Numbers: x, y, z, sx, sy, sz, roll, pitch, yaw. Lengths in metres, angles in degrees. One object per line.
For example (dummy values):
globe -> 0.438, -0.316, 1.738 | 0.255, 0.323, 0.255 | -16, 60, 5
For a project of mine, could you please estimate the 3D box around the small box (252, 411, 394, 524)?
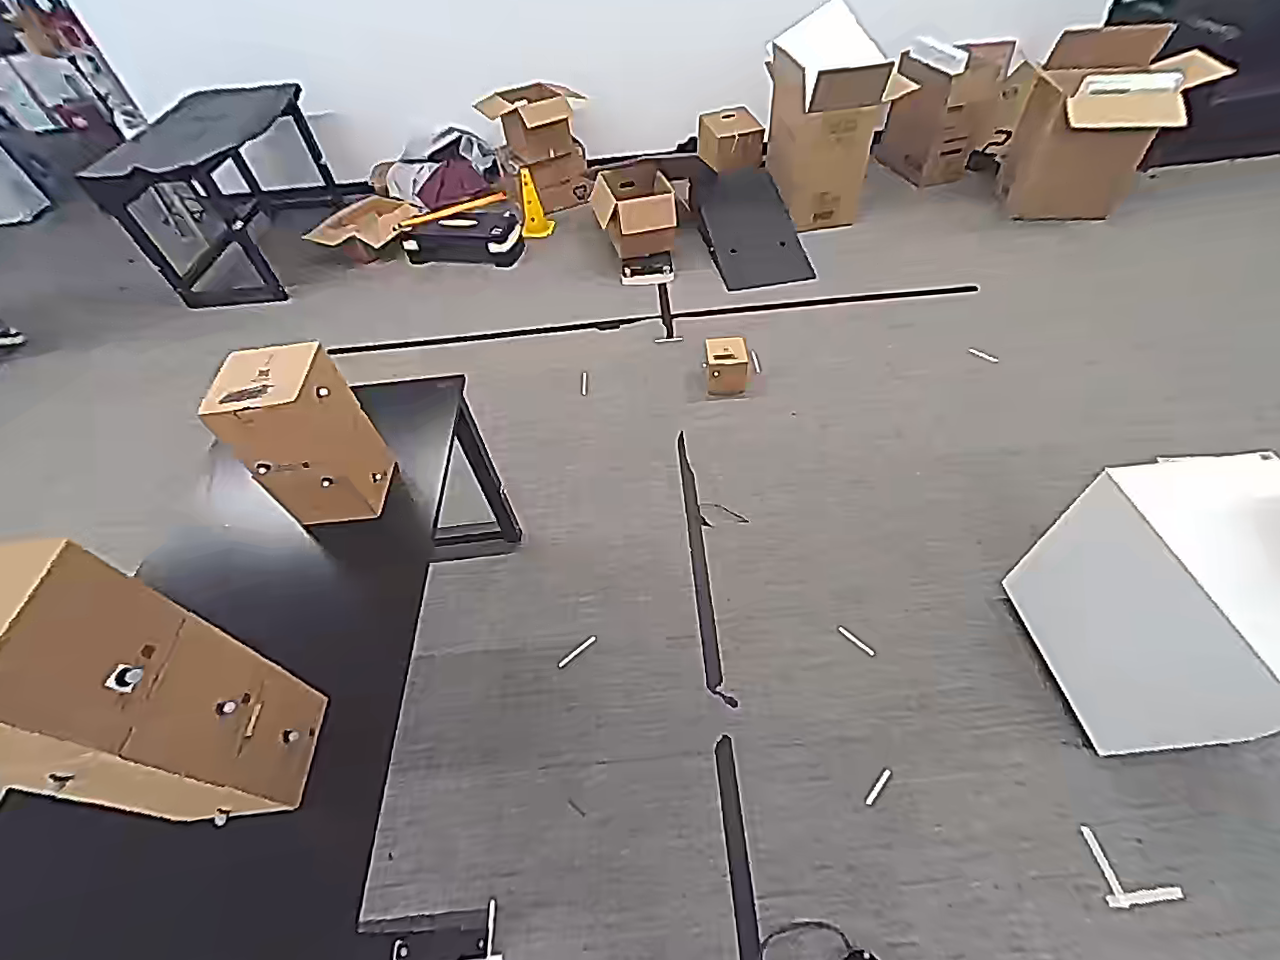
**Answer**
small box -> -0.651, -0.022, 1.134 | 0.179, 0.176, 0.168 | -6, 50, 0

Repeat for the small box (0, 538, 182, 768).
small box -> -0.631, 0.179, 0.540 | 0.179, 0.176, 0.168 | -6, 51, -1

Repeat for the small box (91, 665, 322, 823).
small box -> -0.607, 0.388, 0.791 | 0.179, 0.176, 0.168 | -7, 50, -1

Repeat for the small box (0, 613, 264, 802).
small box -> -0.620, 0.284, 0.664 | 0.179, 0.176, 0.168 | -6, 51, 0

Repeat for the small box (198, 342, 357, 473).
small box -> -0.656, -0.127, 1.008 | 0.168, 0.176, 0.179 | -8, 50, -2
